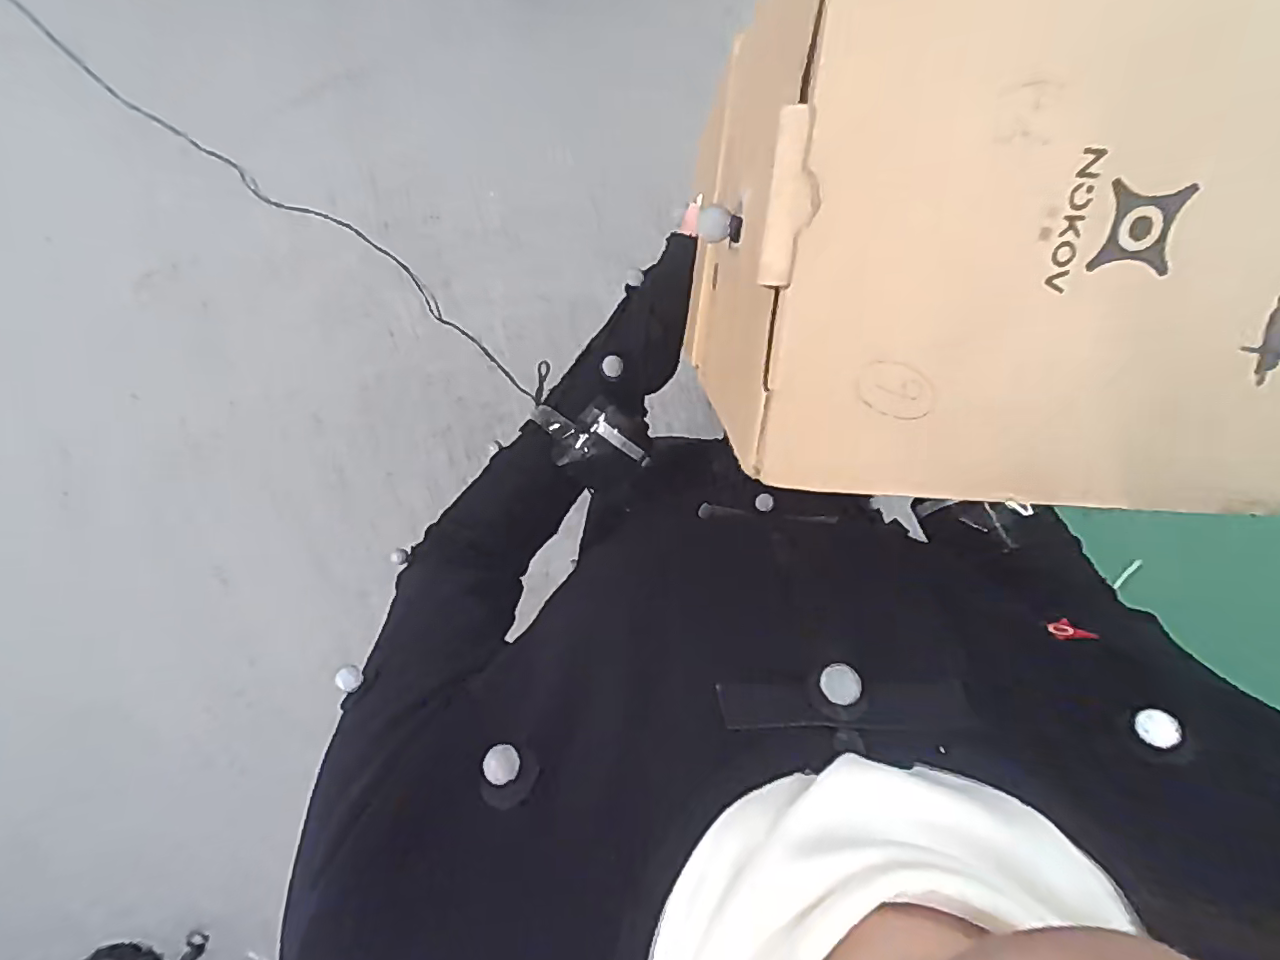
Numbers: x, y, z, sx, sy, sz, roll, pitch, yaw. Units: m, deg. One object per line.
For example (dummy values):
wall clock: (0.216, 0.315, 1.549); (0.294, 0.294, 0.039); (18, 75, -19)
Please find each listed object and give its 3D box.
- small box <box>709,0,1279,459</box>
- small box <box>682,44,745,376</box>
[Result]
small box: (0.127, -0.112, 0.231); (0.179, 0.176, 0.168); (1, 109, -1)
small box: (0.127, -0.164, 0.367); (0.179, 0.176, 0.168); (2, 111, -1)
